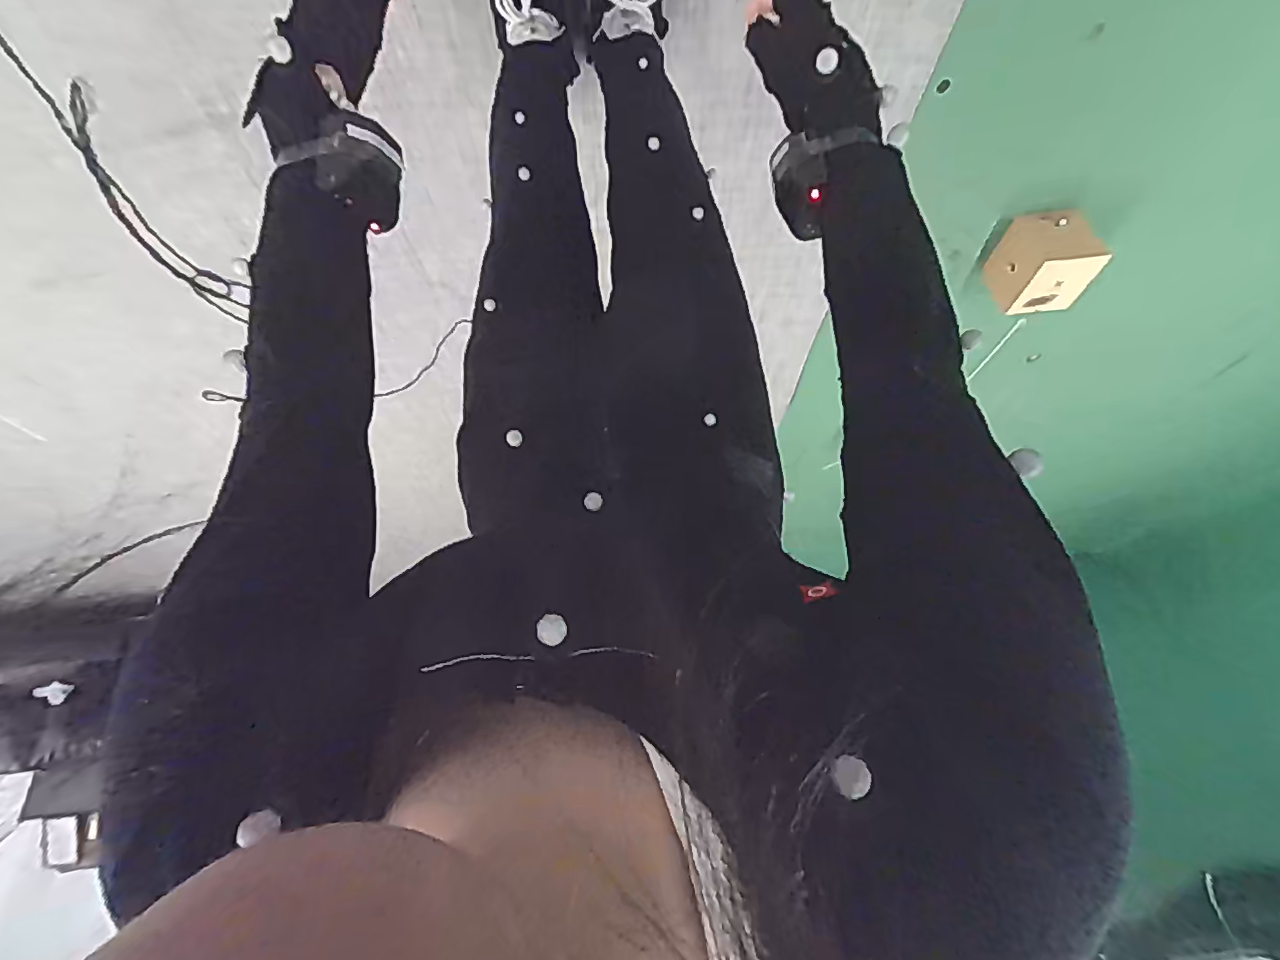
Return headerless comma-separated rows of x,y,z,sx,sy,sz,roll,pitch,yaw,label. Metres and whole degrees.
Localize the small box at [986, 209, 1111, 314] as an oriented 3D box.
1.016,-0.550,1.368,0.168,0.176,0.179,-6,153,0,small box
